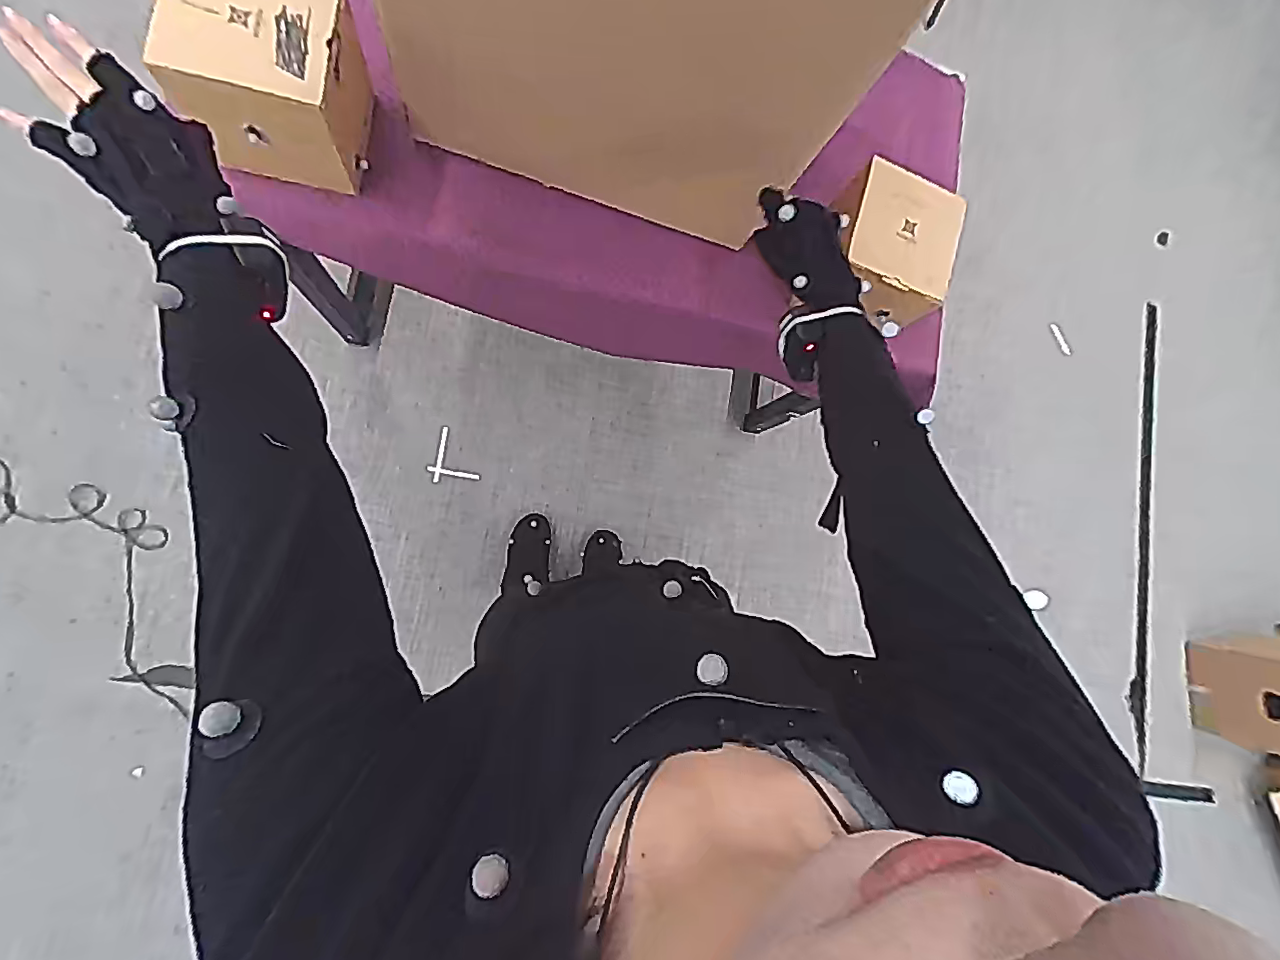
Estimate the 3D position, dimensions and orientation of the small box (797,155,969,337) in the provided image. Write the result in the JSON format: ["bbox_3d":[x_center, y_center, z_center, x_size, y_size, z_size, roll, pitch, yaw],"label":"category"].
[{"bbox_3d":[0.370,-0.351,0.850,0.168,0.176,0.179,19,79,-11],"label":"small box"}]

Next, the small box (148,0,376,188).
[{"bbox_3d":[-0.448,-0.502,0.677,0.179,0.176,0.168,7,82,-13],"label":"small box"}]
